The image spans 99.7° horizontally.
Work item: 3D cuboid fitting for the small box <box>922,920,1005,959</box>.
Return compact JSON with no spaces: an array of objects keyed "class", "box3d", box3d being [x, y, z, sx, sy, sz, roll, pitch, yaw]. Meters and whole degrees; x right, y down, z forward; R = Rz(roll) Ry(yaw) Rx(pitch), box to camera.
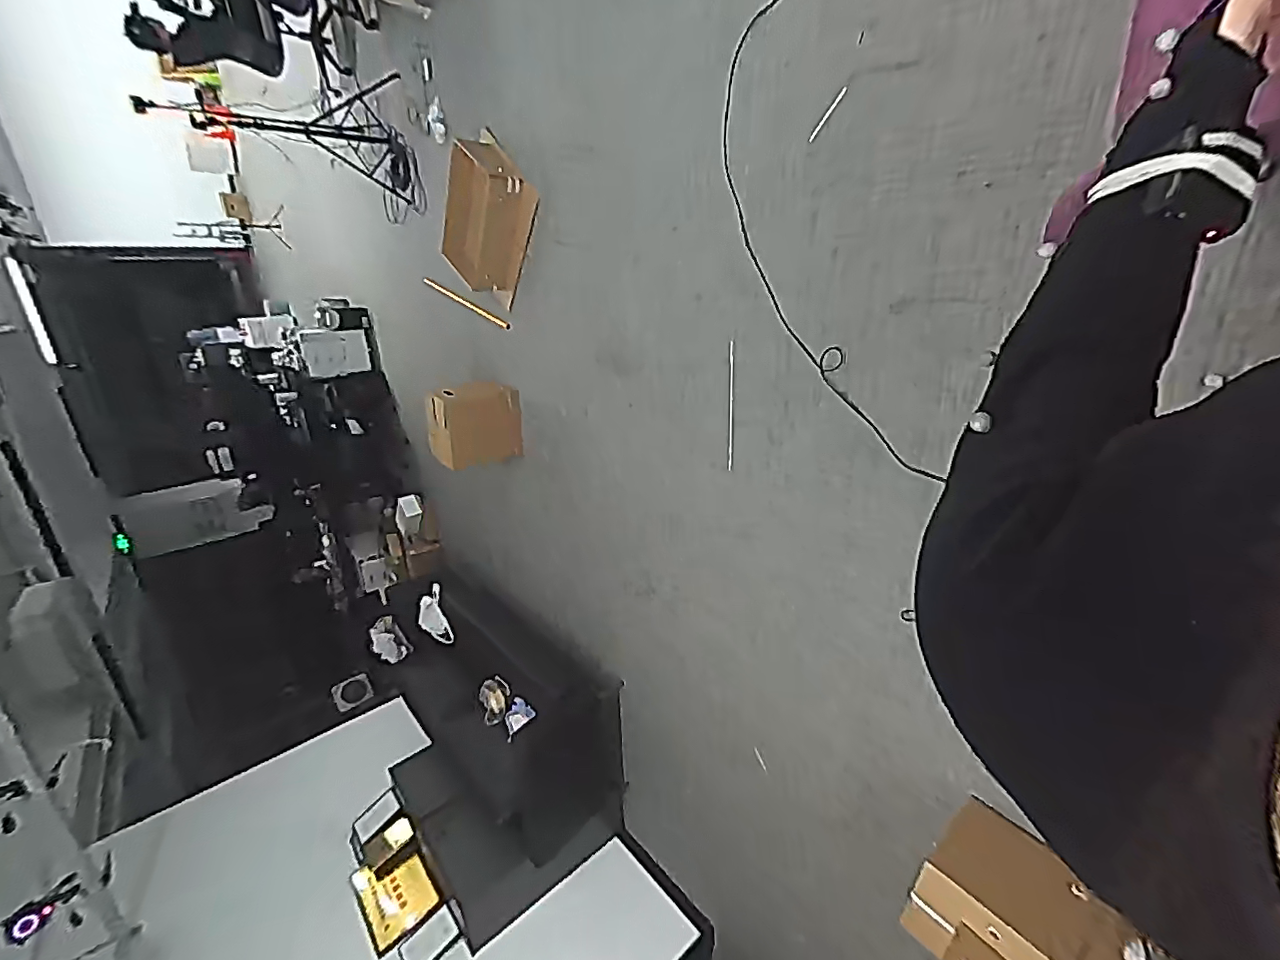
[{"class":"small box","box3d":[0.826,1.281,1.382,0.179,0.176,0.168,30,130,40]}]
